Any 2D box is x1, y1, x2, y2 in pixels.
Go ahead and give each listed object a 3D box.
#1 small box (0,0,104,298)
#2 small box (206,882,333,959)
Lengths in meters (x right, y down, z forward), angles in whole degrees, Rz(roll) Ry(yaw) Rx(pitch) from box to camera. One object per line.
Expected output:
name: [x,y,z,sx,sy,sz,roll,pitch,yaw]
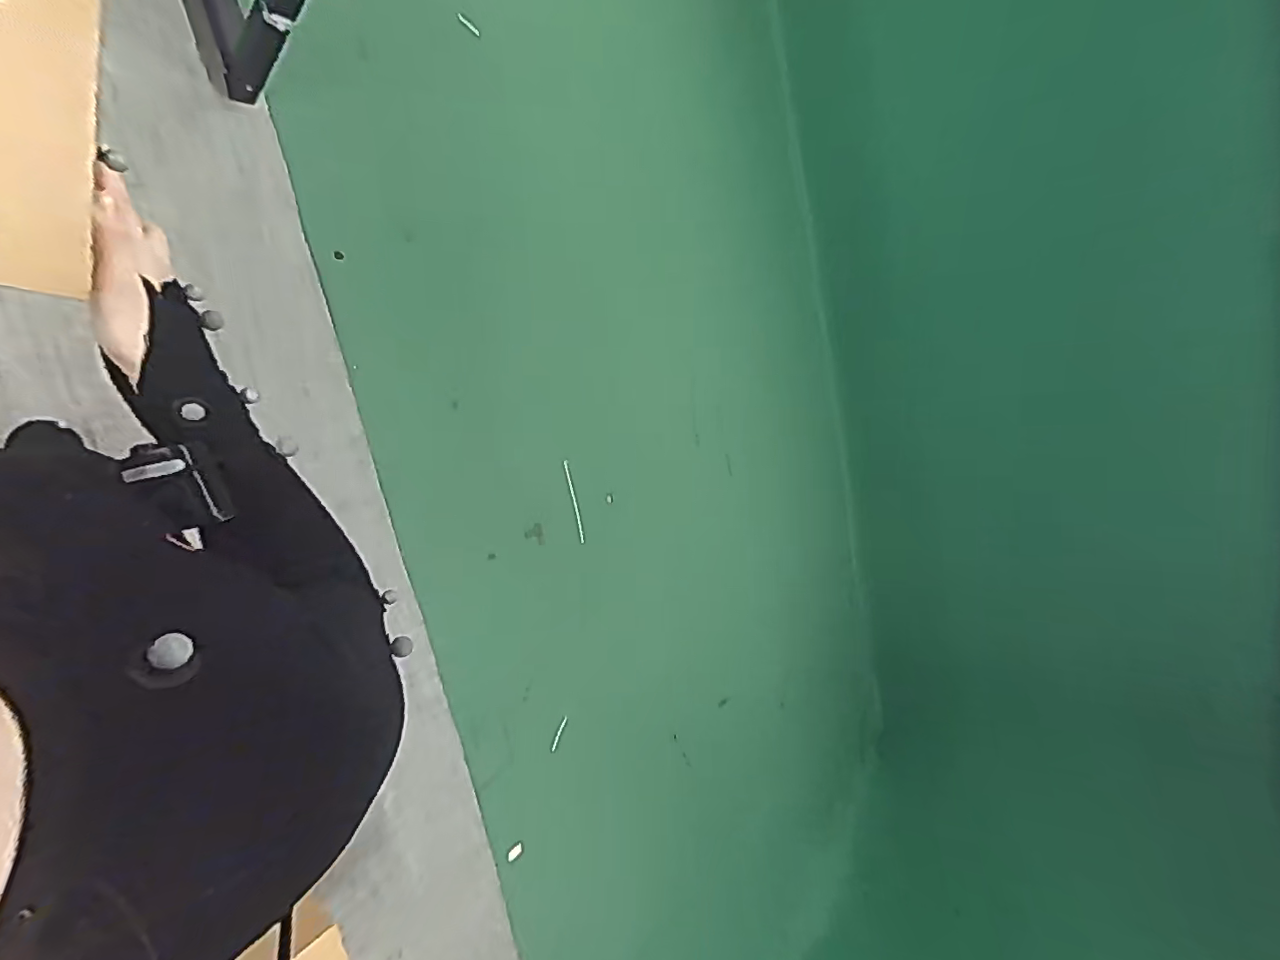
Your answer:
small box: [-0.399,-0.215,0.279,0.168,0.176,0.179,2,111,-46]
small box: [-0.748,0.982,1.103,0.168,0.176,0.179,-21,103,-48]
